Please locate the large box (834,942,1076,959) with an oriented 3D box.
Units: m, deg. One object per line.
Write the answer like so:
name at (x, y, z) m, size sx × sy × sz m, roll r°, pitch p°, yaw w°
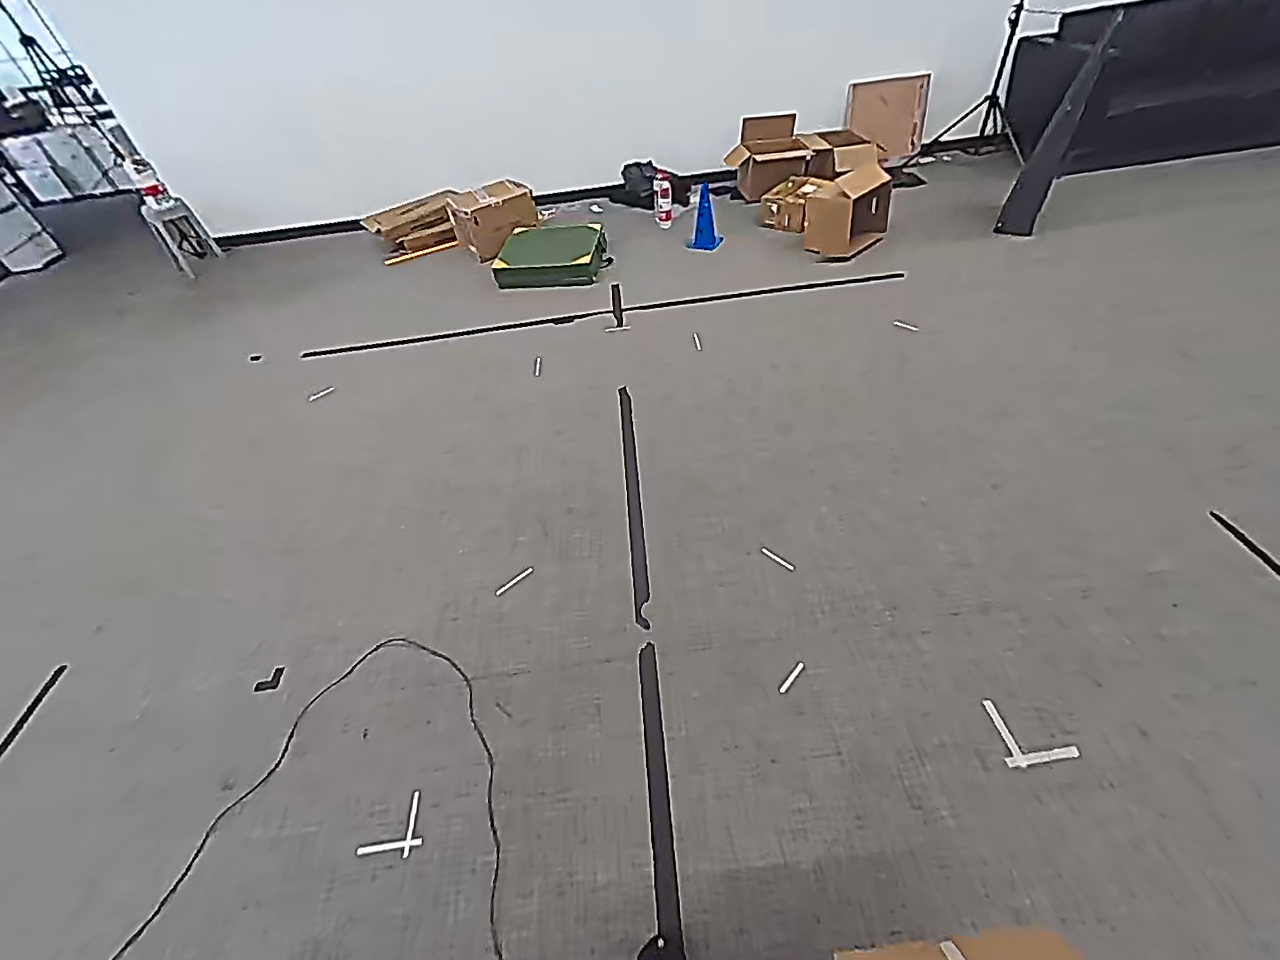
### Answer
large box at (0.419, 0.767, 0.525) m, size 0.320 × 0.408 × 0.320 m, roll -8°, pitch 84°, yaw 3°
